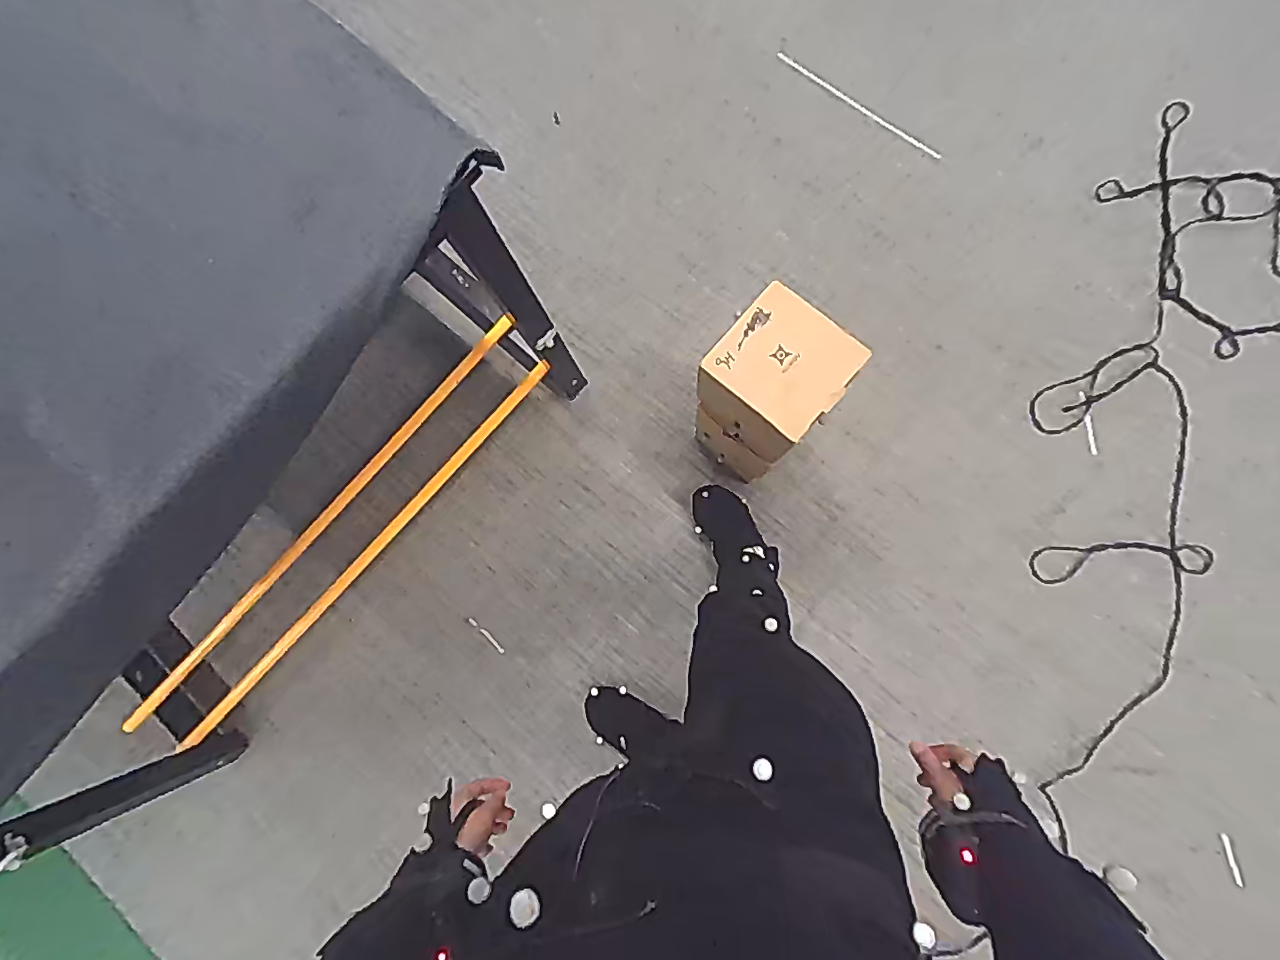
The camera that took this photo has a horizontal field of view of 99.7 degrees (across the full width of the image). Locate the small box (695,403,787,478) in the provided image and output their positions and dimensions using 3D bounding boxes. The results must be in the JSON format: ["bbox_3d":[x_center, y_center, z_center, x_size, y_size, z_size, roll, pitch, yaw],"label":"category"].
[{"bbox_3d":[0.217,-0.124,0.987,0.168,0.176,0.179,40,86,8],"label":"small box"}]

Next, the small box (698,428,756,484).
[{"bbox_3d":[0.234,-0.114,1.150,0.168,0.176,0.179,42,86,9],"label":"small box"}]

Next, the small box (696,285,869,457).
[{"bbox_3d":[0.203,-0.152,0.825,0.179,0.176,0.168,41,86,7],"label":"small box"}]
